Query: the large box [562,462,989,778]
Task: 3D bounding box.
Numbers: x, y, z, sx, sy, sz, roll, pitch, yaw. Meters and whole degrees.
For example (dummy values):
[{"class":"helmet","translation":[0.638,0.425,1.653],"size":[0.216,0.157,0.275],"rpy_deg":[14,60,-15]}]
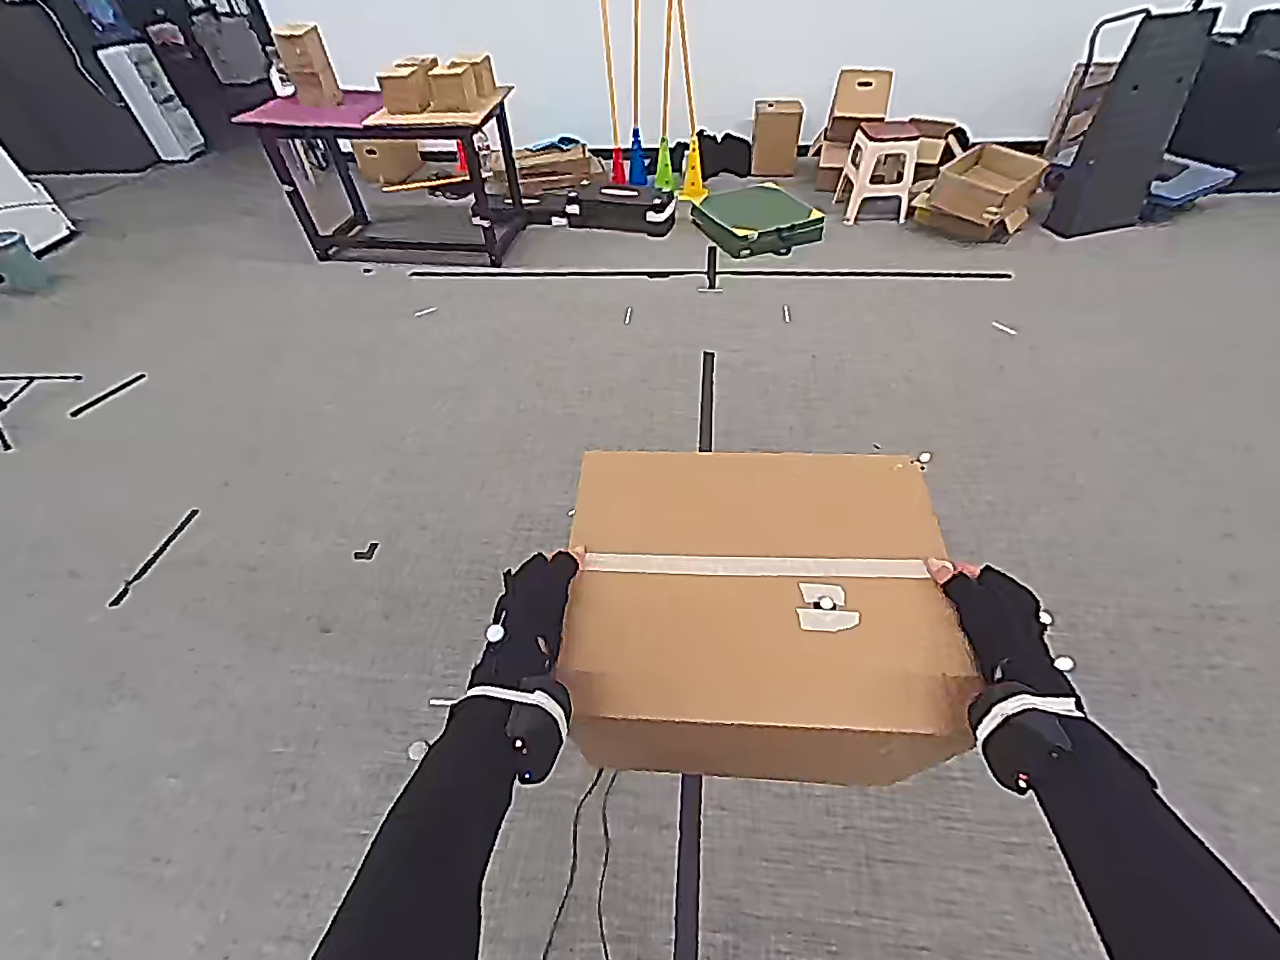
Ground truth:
[{"class":"large box","translation":[0.134,0.189,0.708],"size":[0.408,0.320,0.320],"rpy_deg":[1,54,4]}]
